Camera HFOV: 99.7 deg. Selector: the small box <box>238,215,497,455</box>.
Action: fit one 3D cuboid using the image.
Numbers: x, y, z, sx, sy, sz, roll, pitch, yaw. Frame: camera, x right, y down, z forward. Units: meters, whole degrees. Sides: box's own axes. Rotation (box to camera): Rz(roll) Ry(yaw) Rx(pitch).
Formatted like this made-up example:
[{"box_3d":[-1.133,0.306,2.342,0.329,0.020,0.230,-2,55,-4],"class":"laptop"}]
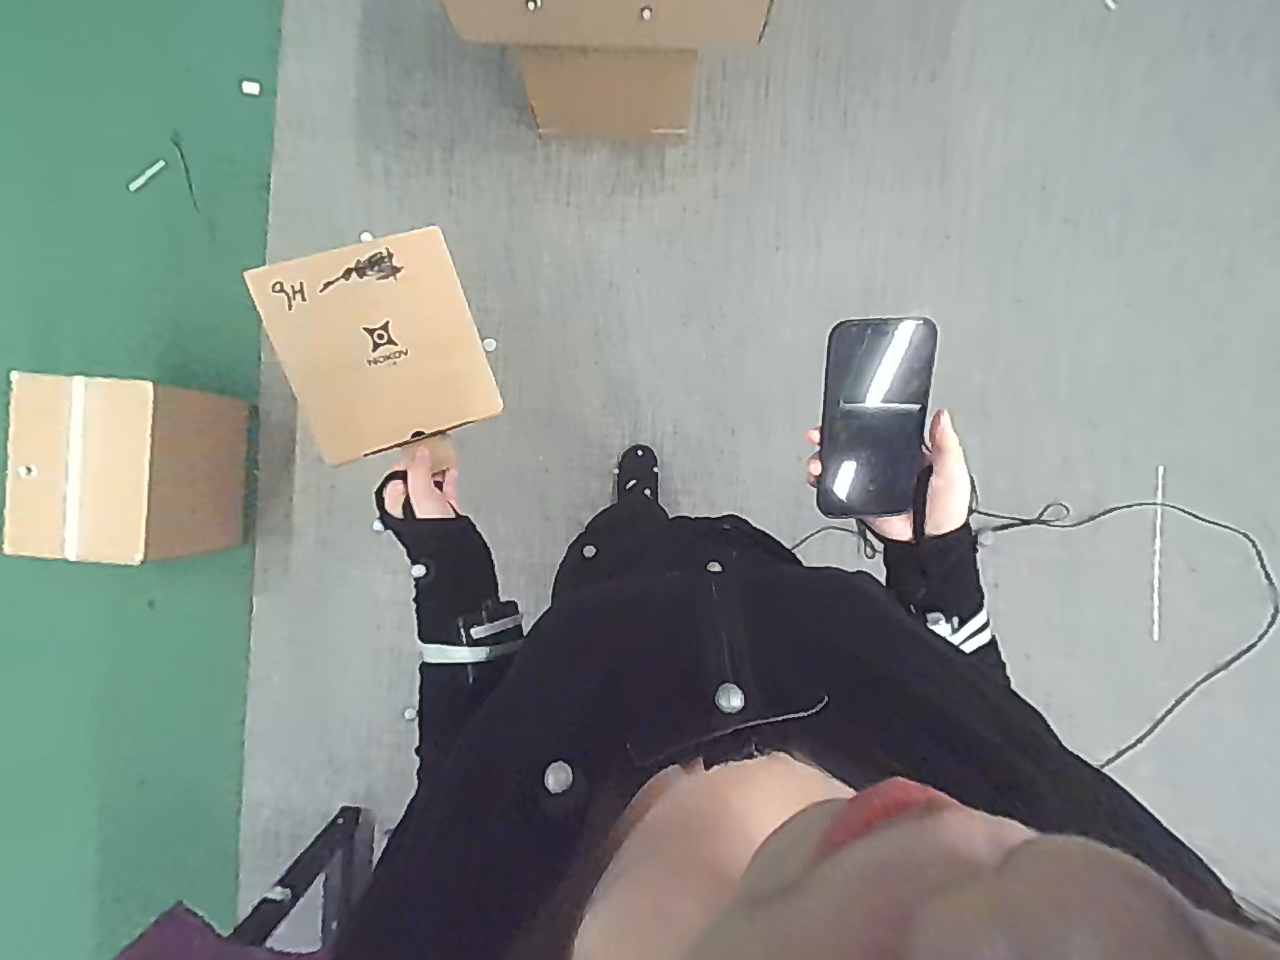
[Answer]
[{"box_3d":[-0.251,-0.140,0.553,0.168,0.176,0.179,-19,103,-11],"class":"small box"}]
